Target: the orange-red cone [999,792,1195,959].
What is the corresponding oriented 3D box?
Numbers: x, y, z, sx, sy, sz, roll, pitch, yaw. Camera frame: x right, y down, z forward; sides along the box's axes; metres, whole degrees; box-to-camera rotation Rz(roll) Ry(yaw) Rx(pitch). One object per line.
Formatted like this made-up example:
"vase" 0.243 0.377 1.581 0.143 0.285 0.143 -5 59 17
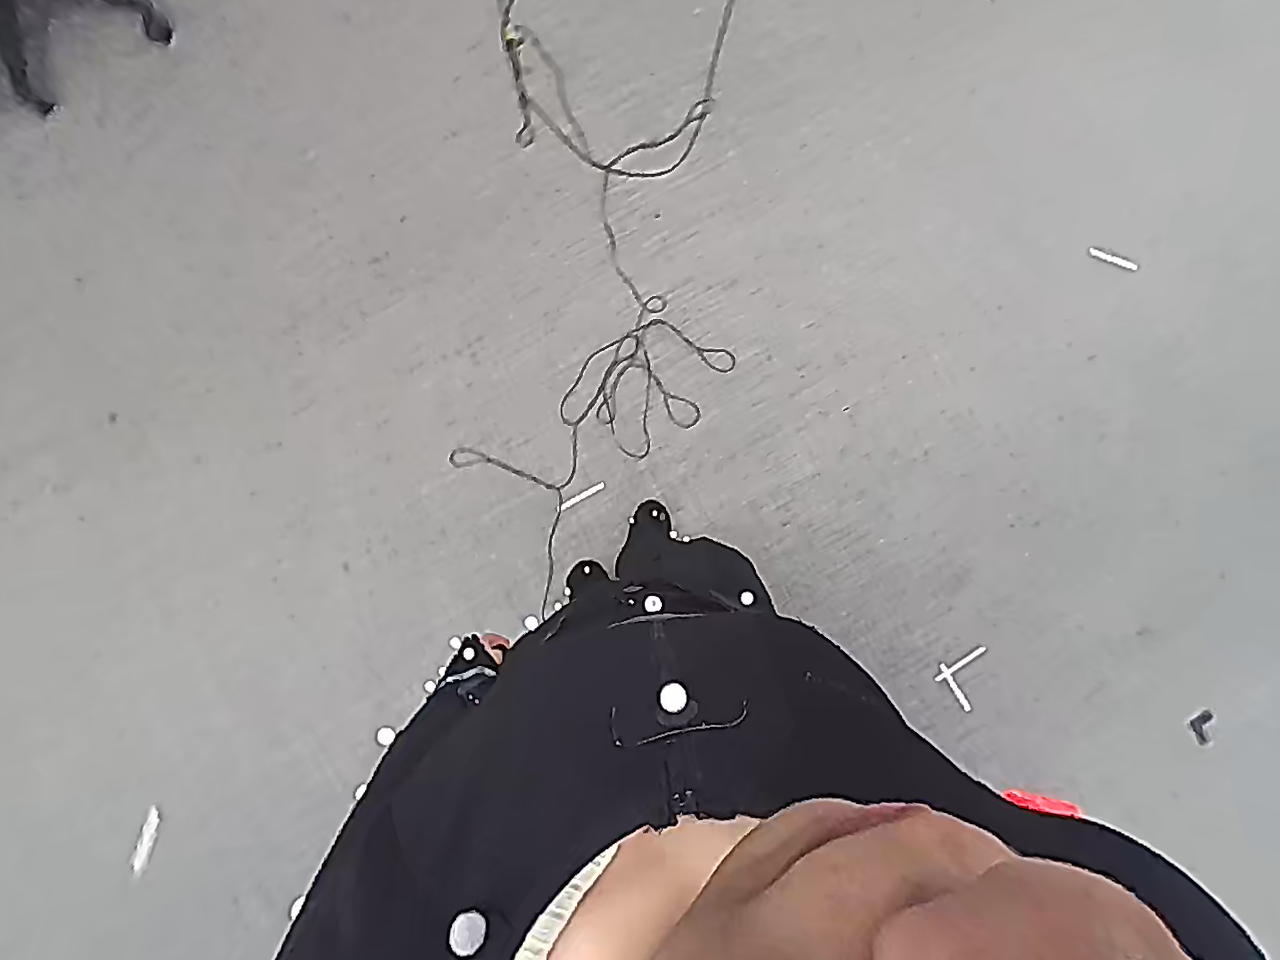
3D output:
"orange-red cone" 1.011 0.889 1.179 0.198 0.360 0.199 15 87 0
